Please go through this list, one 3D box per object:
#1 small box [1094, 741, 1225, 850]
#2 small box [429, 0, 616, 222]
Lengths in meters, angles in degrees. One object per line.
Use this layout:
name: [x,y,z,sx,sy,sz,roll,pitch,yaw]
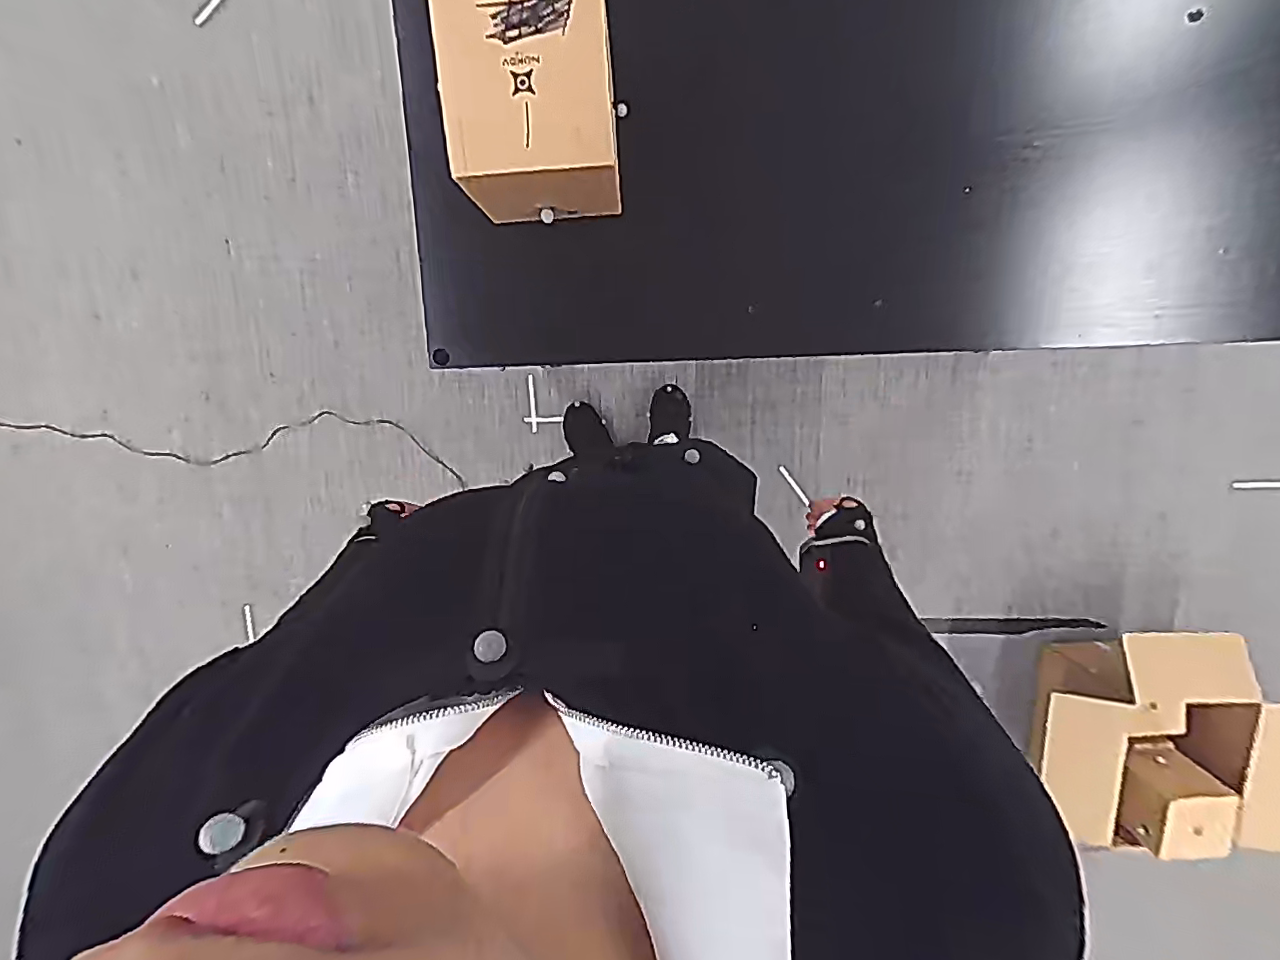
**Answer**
small box: [1.312,0.799,1.380,0.168,0.176,0.179,-4,102,1]
small box: [-0.116,-0.406,0.601,0.168,0.176,0.179,-4,102,1]
